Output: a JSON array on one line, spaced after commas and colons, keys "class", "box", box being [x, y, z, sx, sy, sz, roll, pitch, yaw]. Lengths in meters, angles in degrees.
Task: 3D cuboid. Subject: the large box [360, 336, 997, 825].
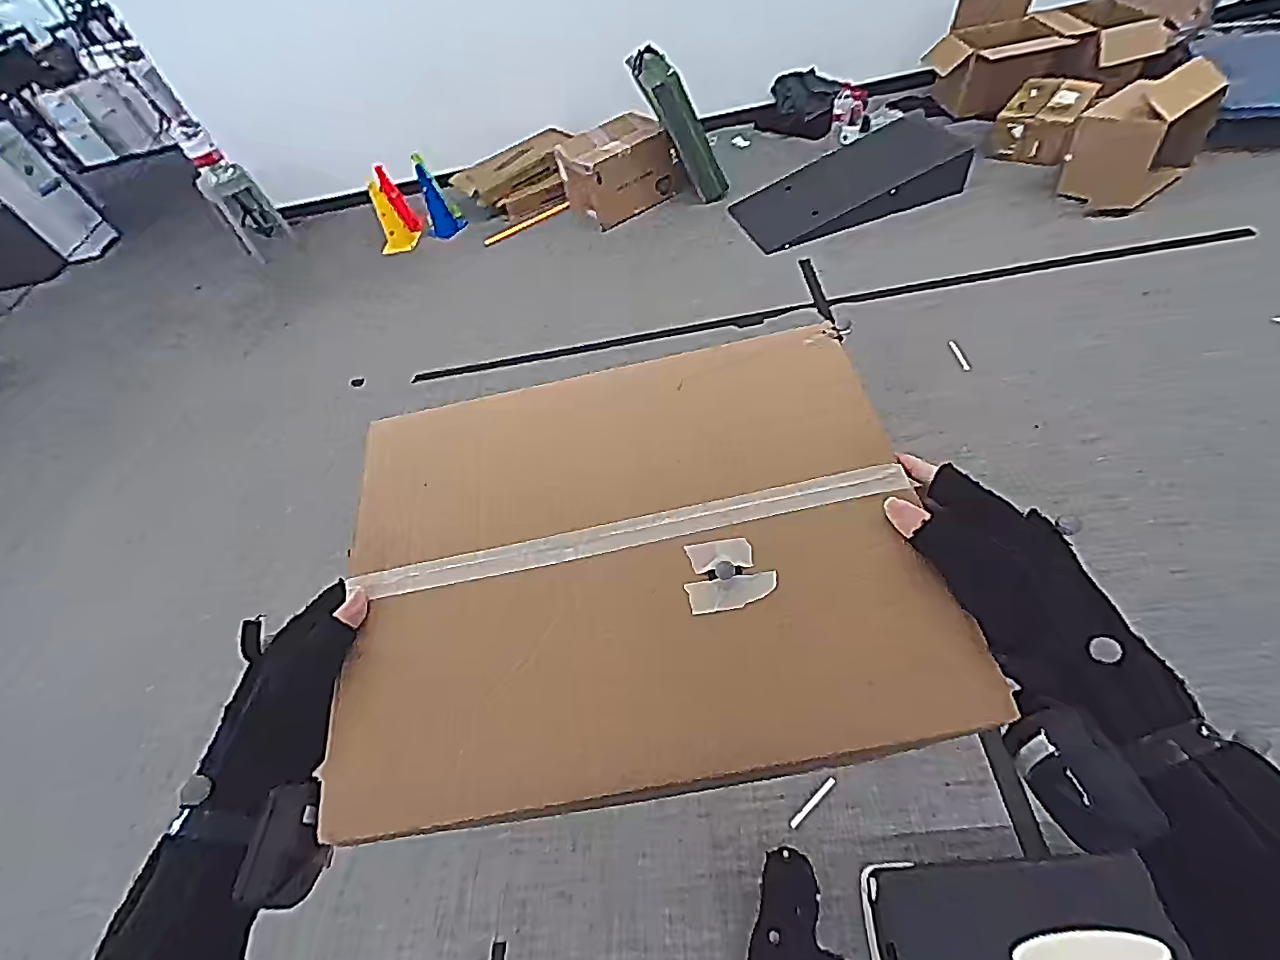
[{"class": "large box", "box": [0.016, 0.117, 0.528, 0.408, 0.320, 0.320, -12, 60, 2]}]
